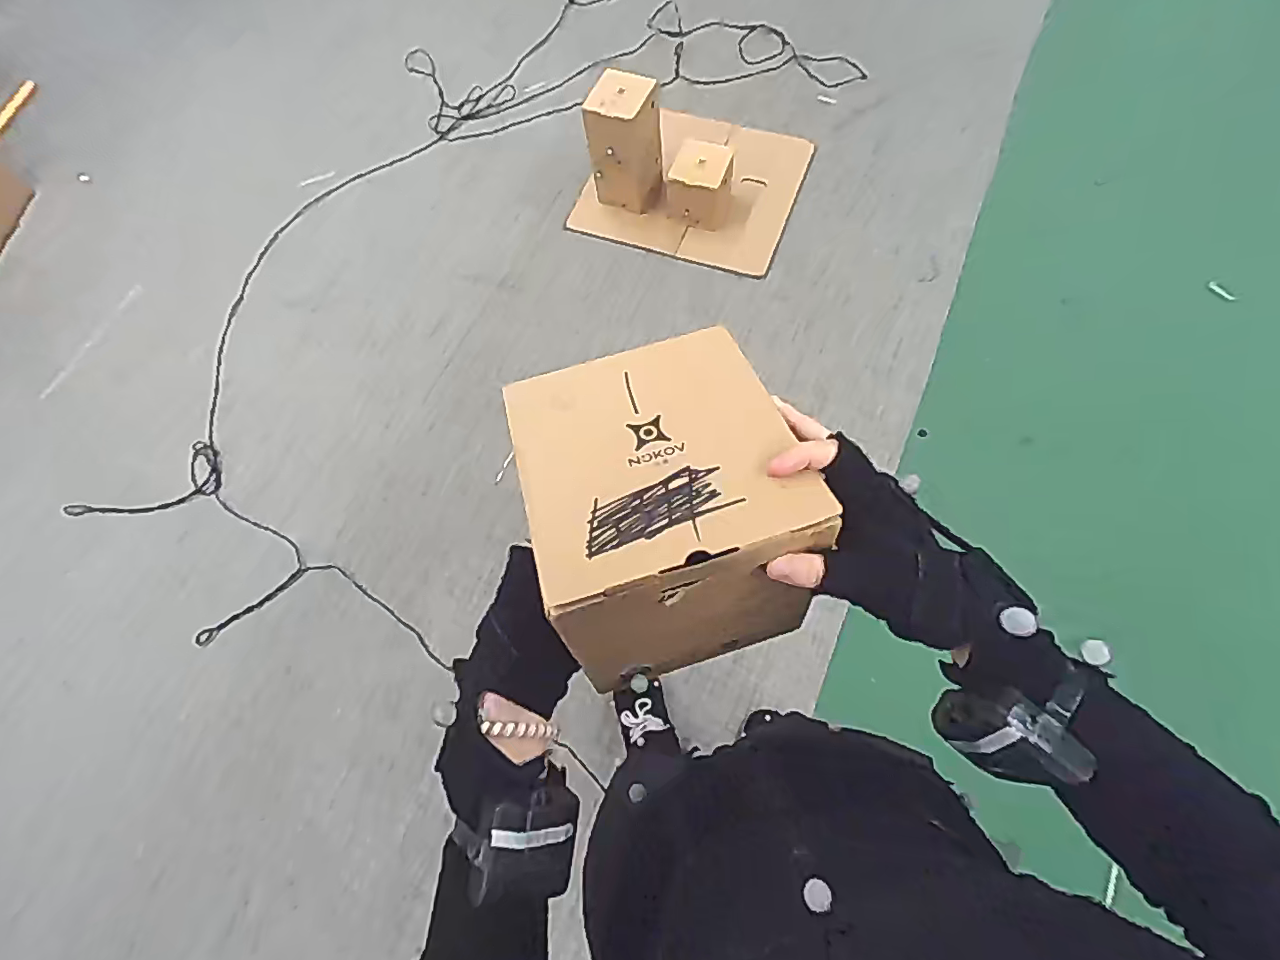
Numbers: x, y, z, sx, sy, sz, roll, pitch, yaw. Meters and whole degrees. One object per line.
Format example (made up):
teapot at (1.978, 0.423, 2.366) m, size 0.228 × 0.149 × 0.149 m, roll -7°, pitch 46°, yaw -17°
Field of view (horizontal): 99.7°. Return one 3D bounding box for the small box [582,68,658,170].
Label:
small box at (-0.053, -1.073, 1.613) m, size 0.168 × 0.176 × 0.179 m, roll 22°, pitch 74°, yaw 13°

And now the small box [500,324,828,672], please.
small box at (0.012, 0.023, 0.396) m, size 0.168 × 0.176 × 0.179 m, roll -17°, pitch 54°, yaw -5°

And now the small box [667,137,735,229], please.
small box at (0.191, -0.944, 1.726) m, size 0.168 × 0.176 × 0.179 m, roll 18°, pitch 74°, yaw 10°
